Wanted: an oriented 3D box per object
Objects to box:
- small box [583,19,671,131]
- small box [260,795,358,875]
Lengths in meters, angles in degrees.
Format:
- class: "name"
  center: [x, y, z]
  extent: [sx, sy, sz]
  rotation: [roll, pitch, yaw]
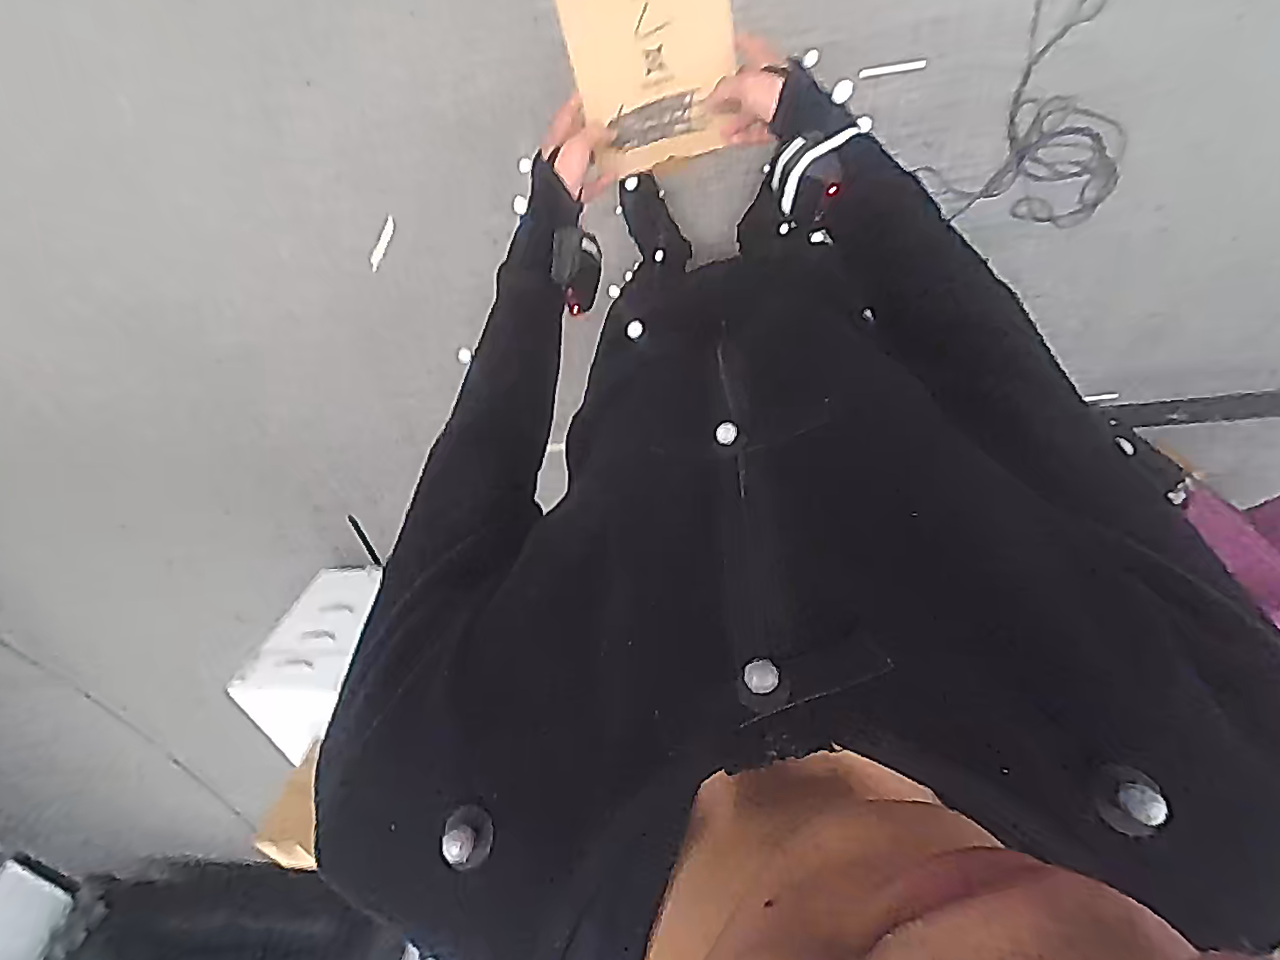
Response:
- class: "small box"
  center: [-0.021, -0.863, 1.164]
  extent: [0.168, 0.176, 0.179]
  rotation: [0, 125, 7]
- class: "small box"
  center: [-1.050, 1.132, 1.730]
  extent: [0.168, 0.176, 0.179]
  rotation: [-5, 126, 11]
